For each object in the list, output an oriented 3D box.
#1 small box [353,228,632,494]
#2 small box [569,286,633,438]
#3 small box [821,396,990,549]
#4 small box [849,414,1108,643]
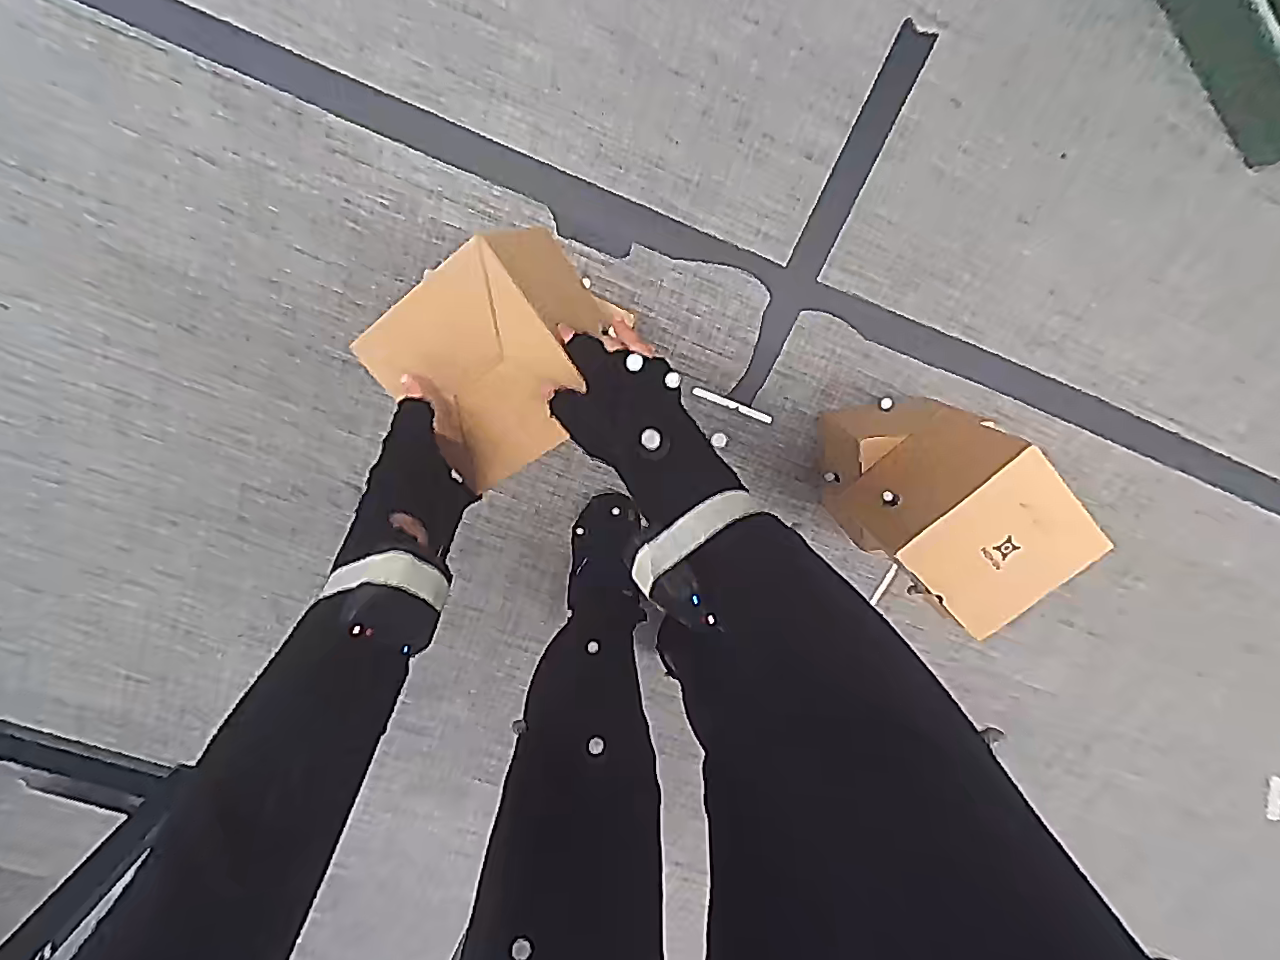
[{"bbox_3d":[-0.135,-0.117,0.539,0.168,0.176,0.179,-33,109,24],"label":"small box"},{"bbox_3d":[-0.118,-0.182,0.740,0.179,0.176,0.168,23,107,-7],"label":"small box"},{"bbox_3d":[0.378,-0.019,0.798,0.179,0.176,0.168,-11,108,3],"label":"small box"},{"bbox_3d":[0.378,0.048,0.646,0.179,0.176,0.168,-43,105,13],"label":"small box"}]
